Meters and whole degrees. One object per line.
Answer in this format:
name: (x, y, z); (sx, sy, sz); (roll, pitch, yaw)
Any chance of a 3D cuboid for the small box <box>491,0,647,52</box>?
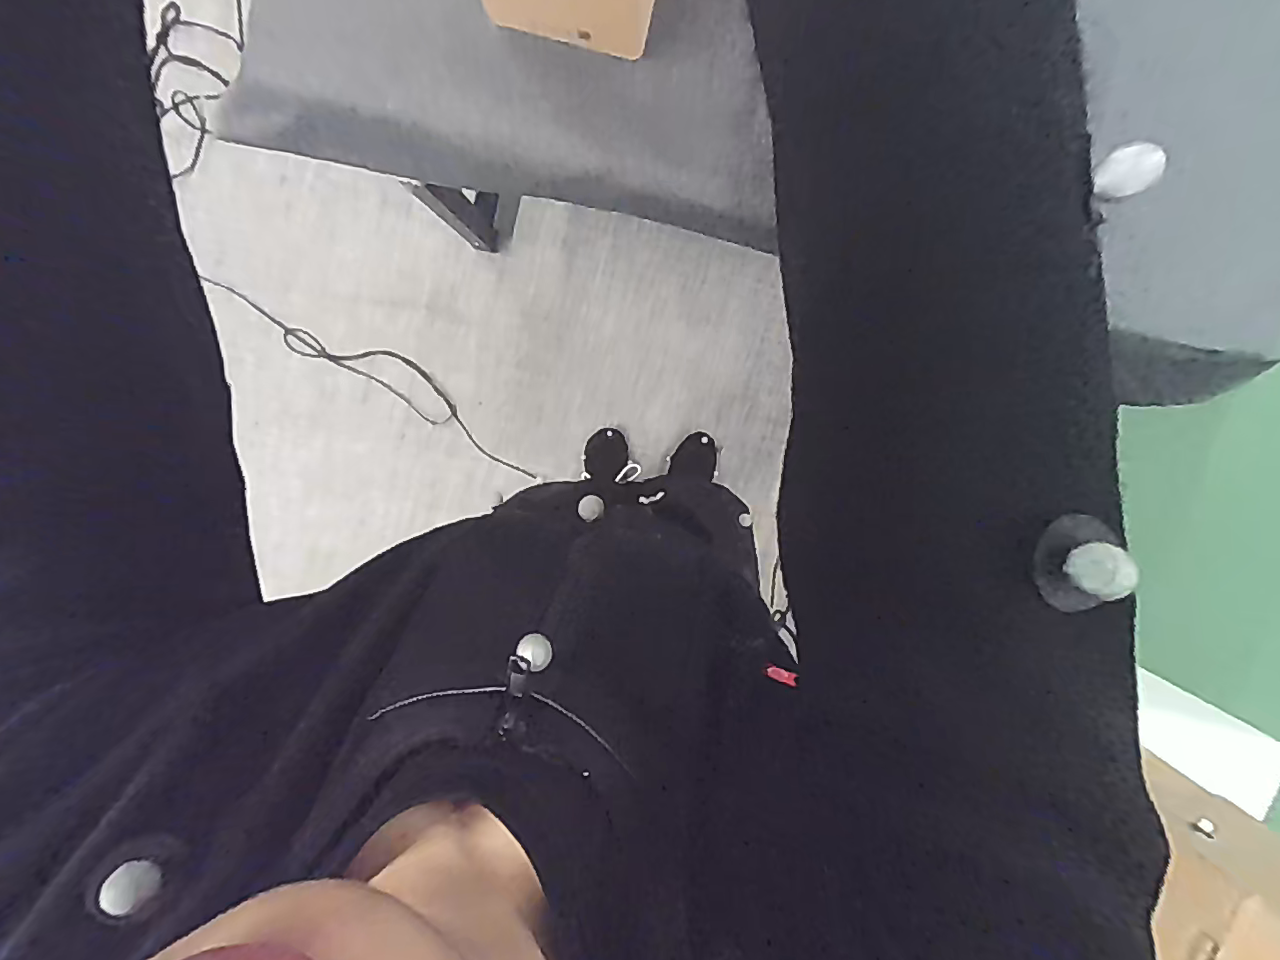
small box: (-0.061, -0.541, 0.478); (0.168, 0.176, 0.179); (13, 98, -3)
